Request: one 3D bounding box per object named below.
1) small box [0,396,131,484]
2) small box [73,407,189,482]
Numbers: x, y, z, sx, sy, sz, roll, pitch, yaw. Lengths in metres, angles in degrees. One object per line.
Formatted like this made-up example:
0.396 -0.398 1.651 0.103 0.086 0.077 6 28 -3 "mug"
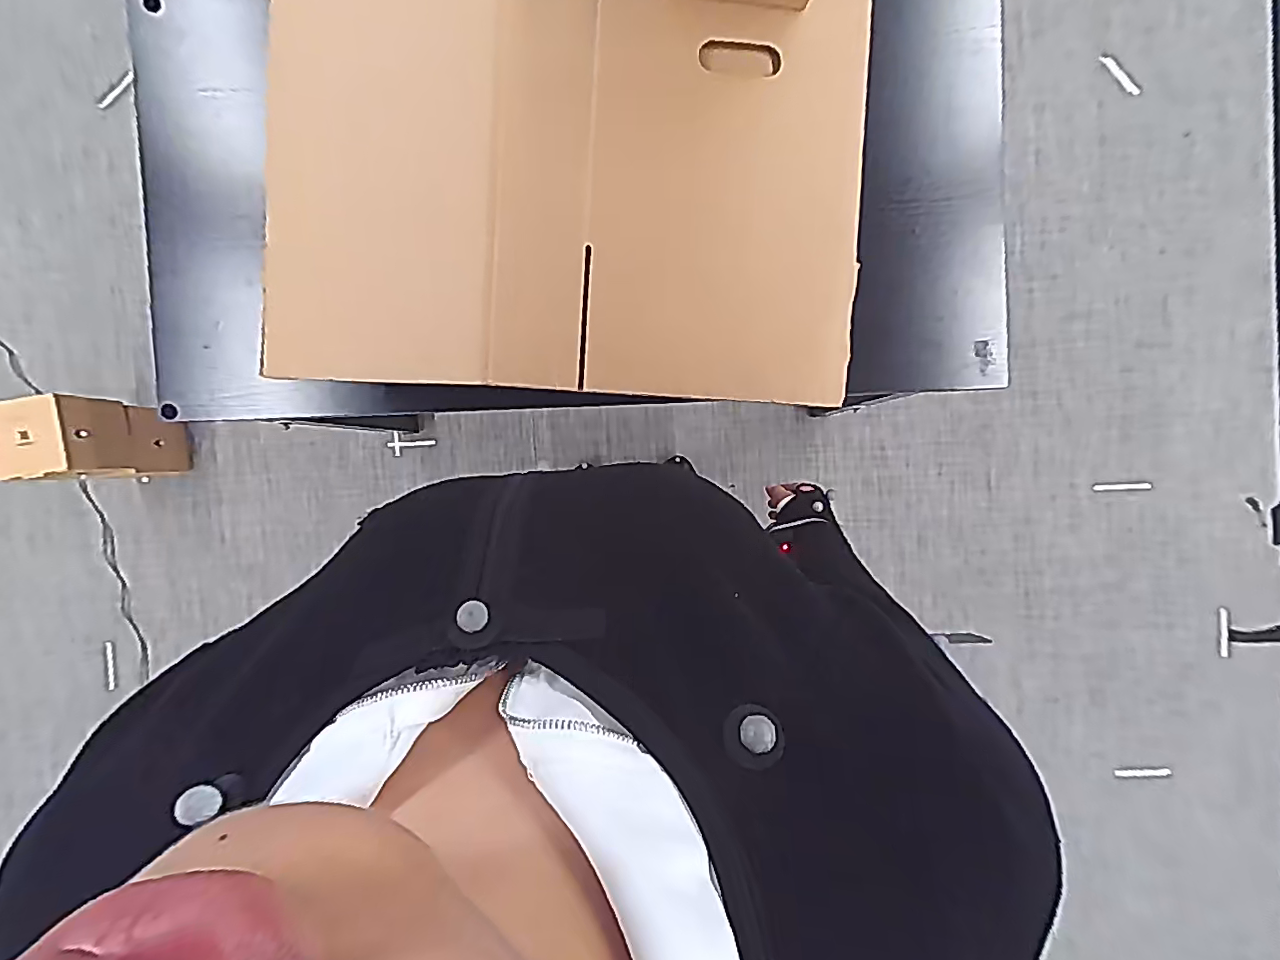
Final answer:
-1.356 -0.091 1.272 0.168 0.176 0.179 -9 91 0 "small box"
-1.352 -0.091 1.434 0.168 0.176 0.179 -6 92 1 "small box"
